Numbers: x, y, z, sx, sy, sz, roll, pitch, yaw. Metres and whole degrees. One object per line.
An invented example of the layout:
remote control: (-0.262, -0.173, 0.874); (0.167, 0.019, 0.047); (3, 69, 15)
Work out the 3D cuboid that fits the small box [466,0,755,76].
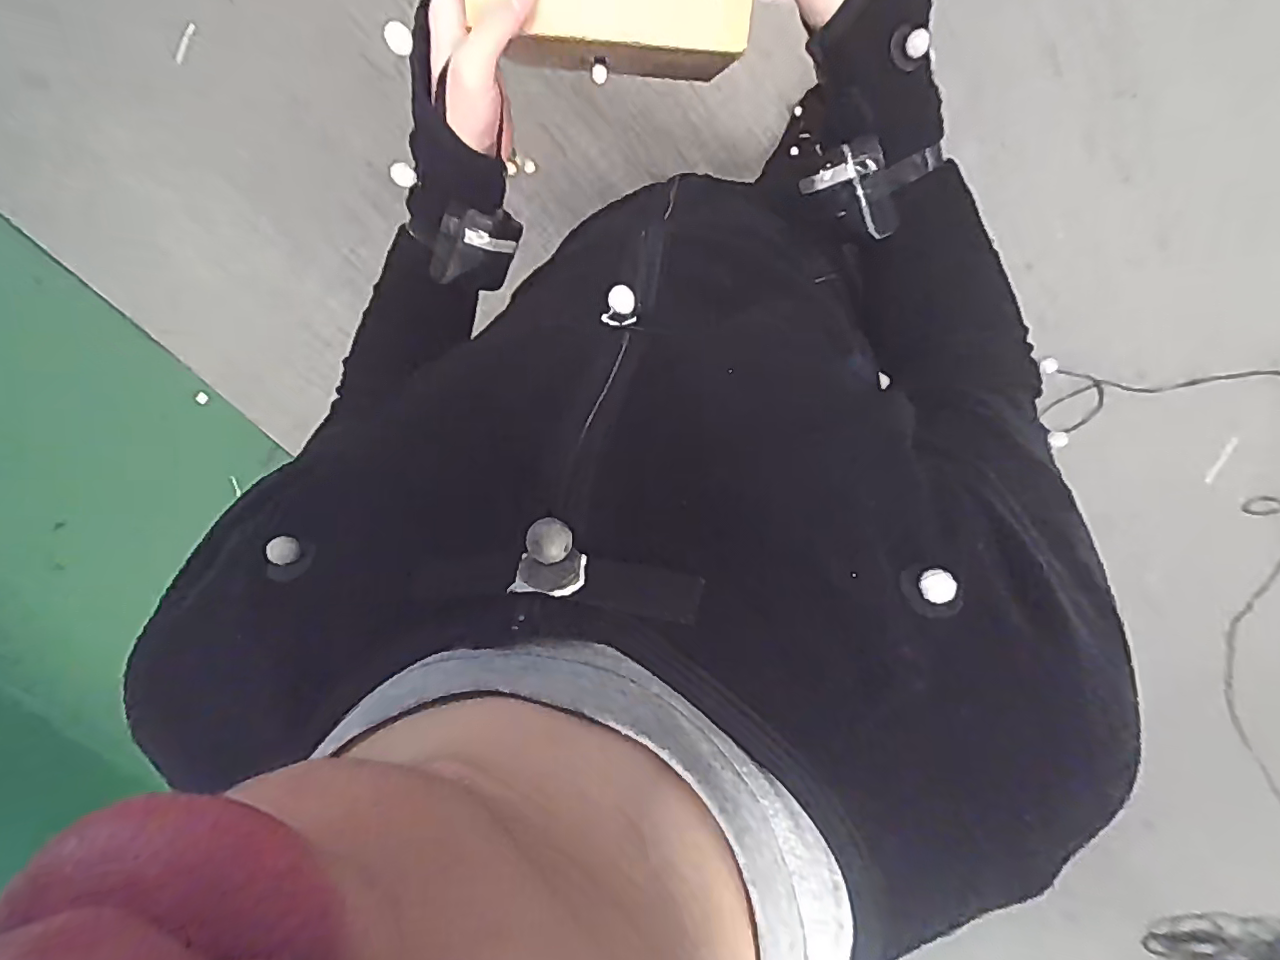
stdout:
small box: (-0.015, -0.384, 0.360); (0.179, 0.176, 0.168); (3, 121, -3)
